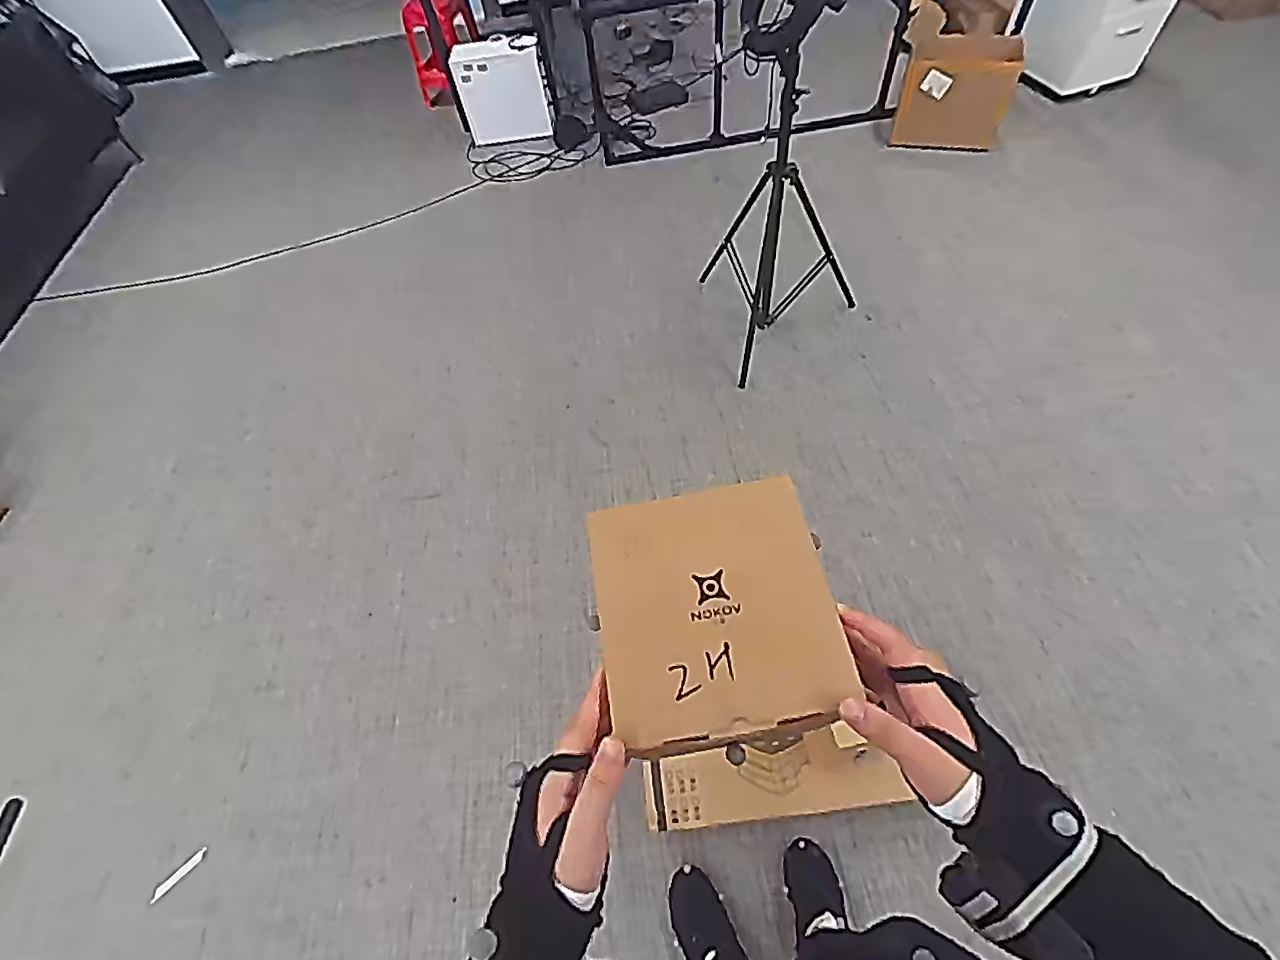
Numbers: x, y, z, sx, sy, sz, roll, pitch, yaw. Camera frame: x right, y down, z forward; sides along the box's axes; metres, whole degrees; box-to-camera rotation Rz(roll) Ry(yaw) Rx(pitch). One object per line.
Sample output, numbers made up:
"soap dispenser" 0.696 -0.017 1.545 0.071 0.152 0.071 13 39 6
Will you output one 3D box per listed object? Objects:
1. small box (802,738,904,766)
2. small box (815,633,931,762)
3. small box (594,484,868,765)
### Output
"small box" 0.430 0.502 1.157 0.168 0.176 0.179 -10 57 0
"small box" 0.405 0.414 1.022 0.168 0.176 0.179 -13 57 -1
"small box" 0.061 0.129 0.455 0.168 0.176 0.179 -11 60 1
